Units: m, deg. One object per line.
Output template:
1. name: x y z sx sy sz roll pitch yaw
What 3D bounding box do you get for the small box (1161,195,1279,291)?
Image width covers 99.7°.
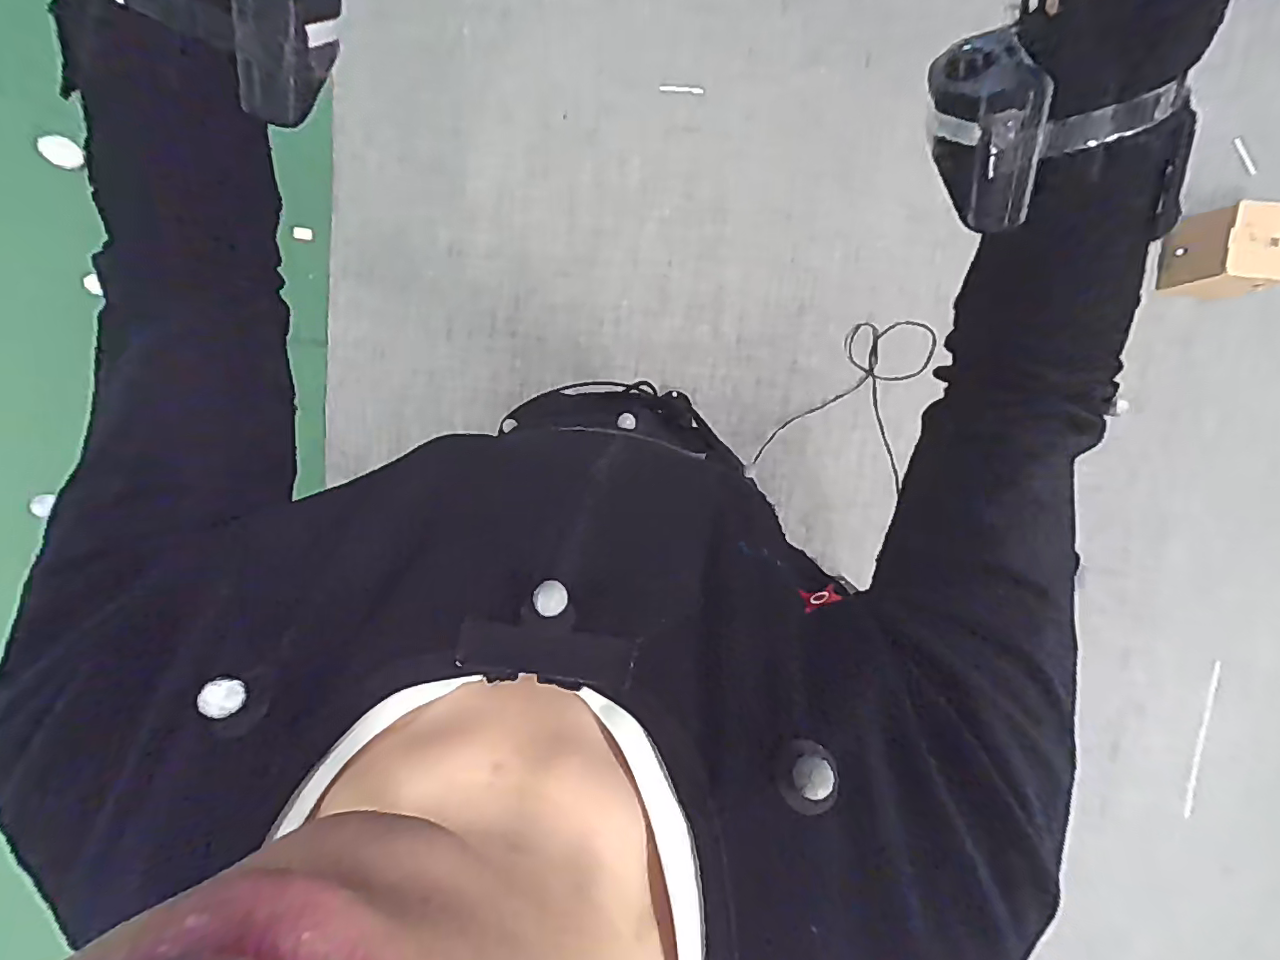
1. small box: 1.419 -0.555 1.289 0.179 0.176 0.168 5 97 1

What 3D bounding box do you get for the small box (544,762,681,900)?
1. small box: -0.045 0.522 0.726 0.168 0.176 0.179 10 97 -1
